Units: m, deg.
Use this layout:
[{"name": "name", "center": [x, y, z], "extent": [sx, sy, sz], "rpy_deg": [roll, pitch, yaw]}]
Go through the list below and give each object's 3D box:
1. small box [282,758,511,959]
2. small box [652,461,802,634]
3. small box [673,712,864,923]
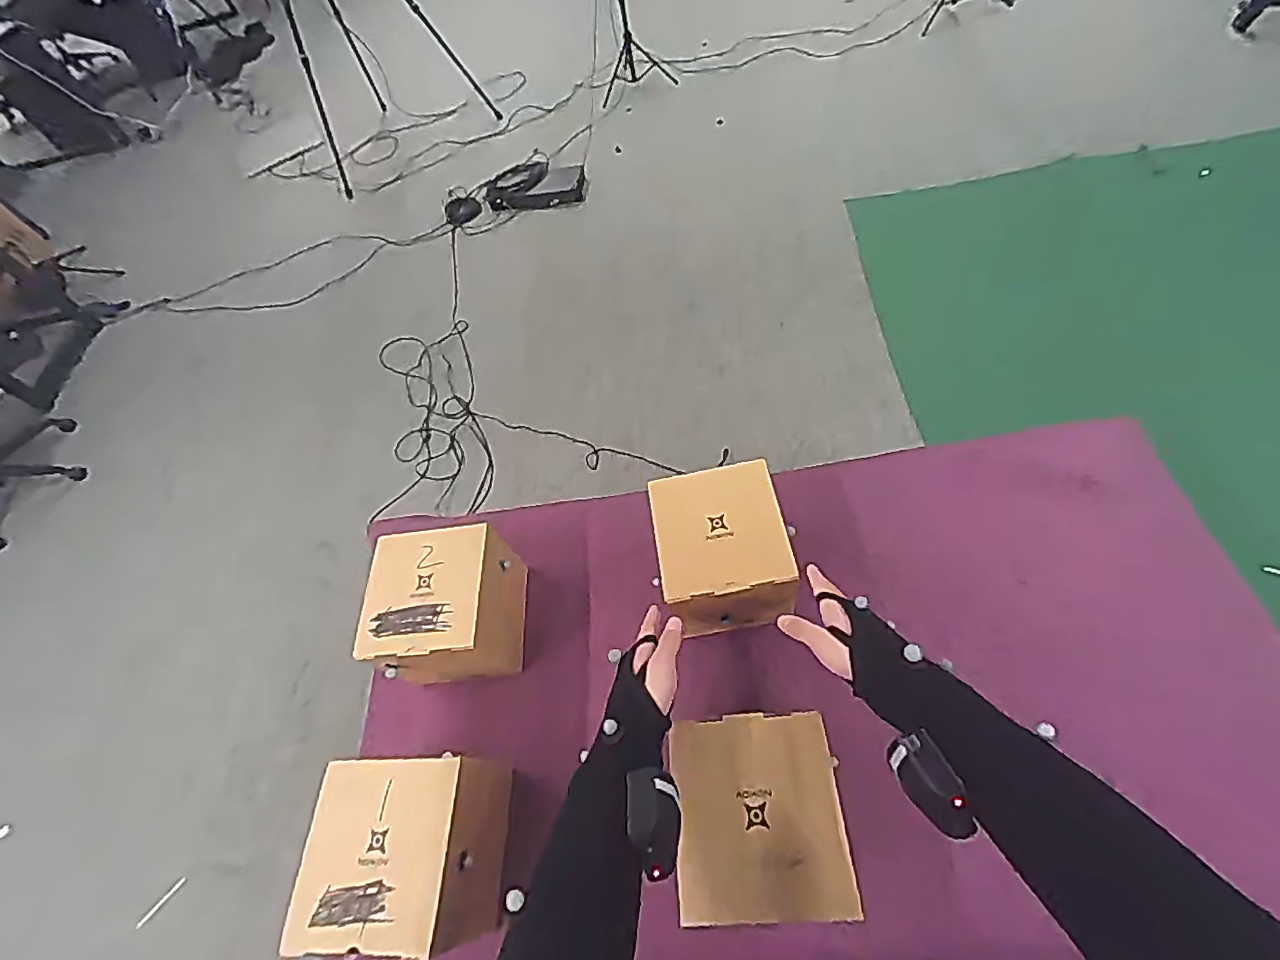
[{"name": "small box", "center": [-0.264, 0.431, 0.636], "extent": [0.168, 0.176, 0.179], "rpy_deg": [-5, 57, 8]}, {"name": "small box", "center": [0.116, 0.101, 0.760], "extent": [0.168, 0.176, 0.179], "rpy_deg": [-11, 60, 4]}, {"name": "small box", "center": [0.130, 0.368, 0.599], "extent": [0.168, 0.176, 0.179], "rpy_deg": [-7, 58, 8]}]
